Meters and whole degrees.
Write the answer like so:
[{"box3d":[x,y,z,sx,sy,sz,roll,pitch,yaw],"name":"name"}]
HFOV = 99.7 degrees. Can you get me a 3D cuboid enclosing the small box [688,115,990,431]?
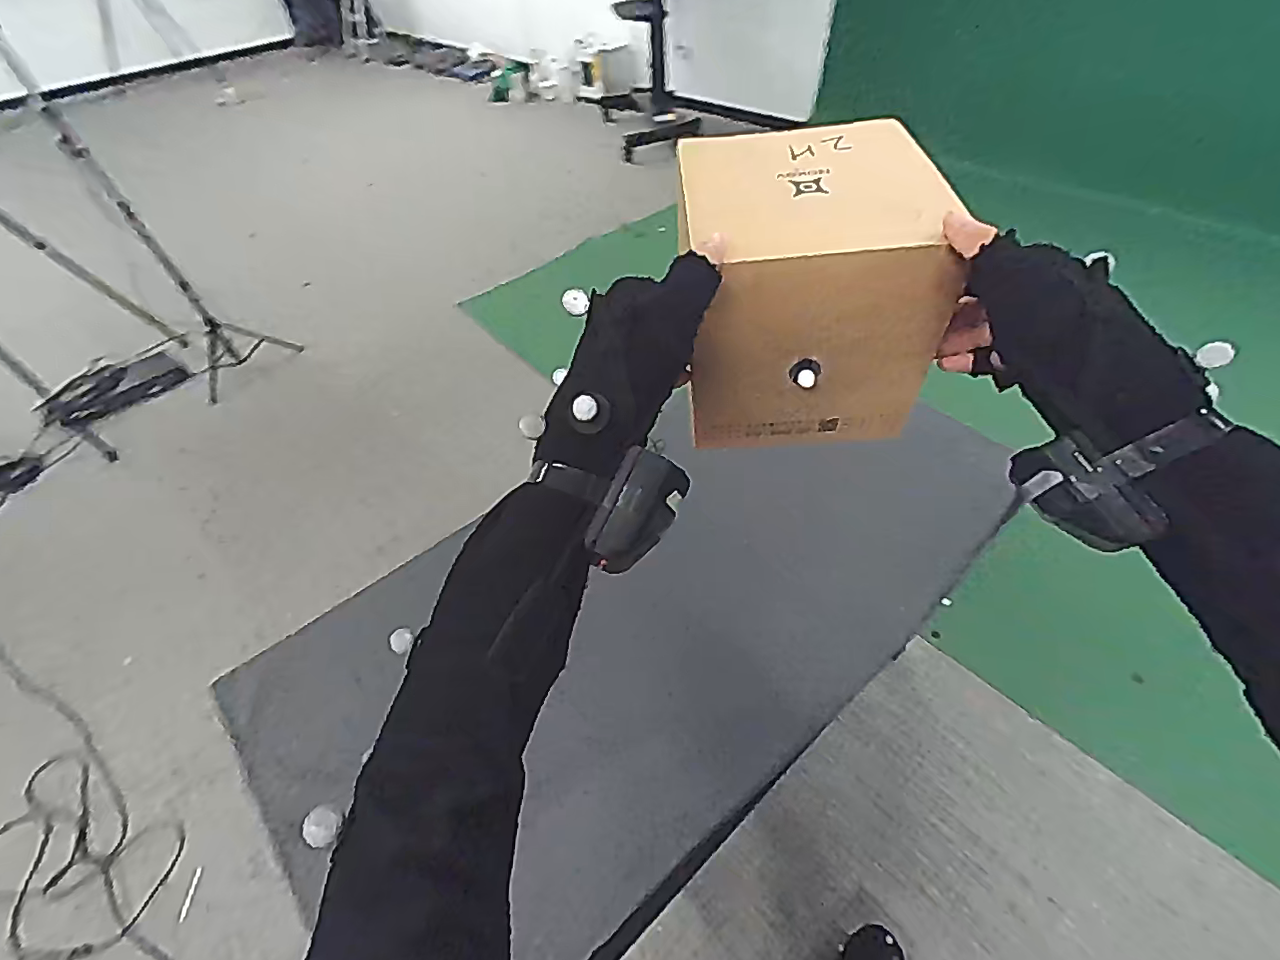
[{"box3d":[0.126,-0.150,0.422,0.168,0.176,0.179,-3,52,4],"name":"small box"}]
